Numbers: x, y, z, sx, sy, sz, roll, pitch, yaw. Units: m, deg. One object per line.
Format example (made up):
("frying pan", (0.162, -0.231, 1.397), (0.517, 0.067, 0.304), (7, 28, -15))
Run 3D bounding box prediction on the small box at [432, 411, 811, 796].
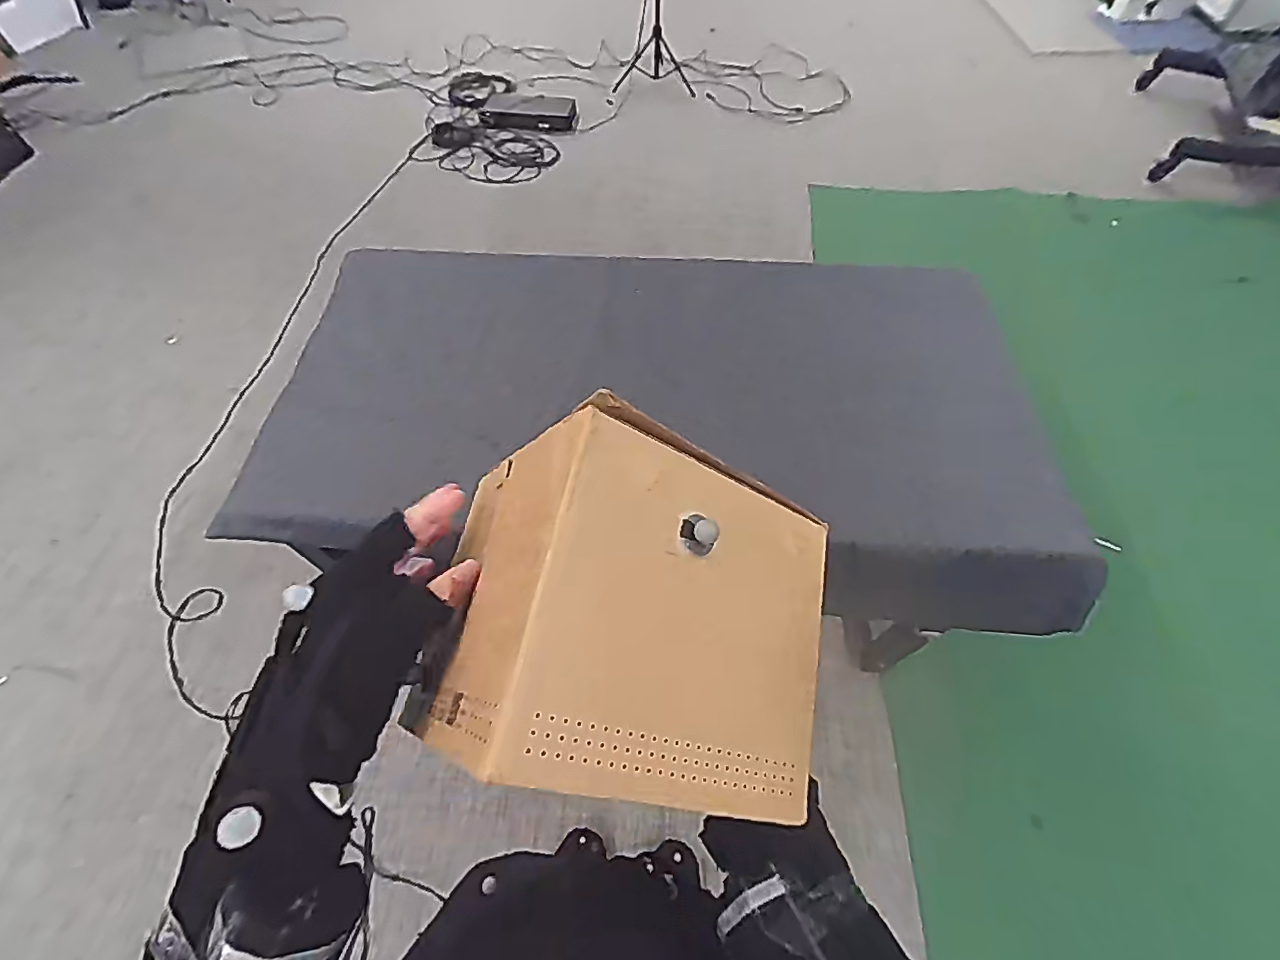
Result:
("small box", (-0.015, 0.087, 0.347), (0.179, 0.168, 0.176), (26, 65, -26))
